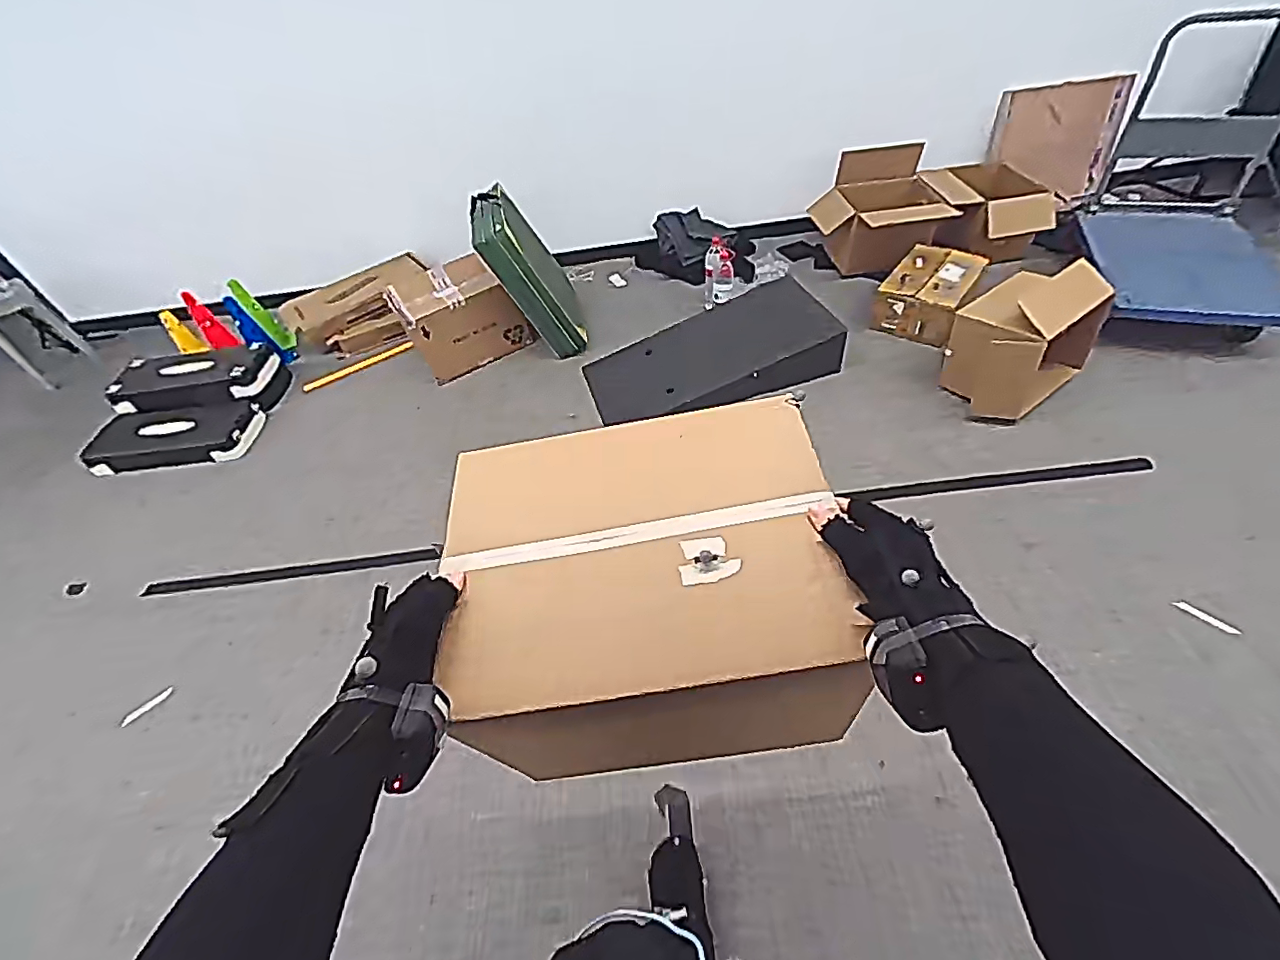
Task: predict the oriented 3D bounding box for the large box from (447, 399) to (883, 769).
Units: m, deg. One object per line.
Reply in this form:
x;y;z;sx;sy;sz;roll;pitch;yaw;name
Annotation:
0.022;0.143;0.685;0.408;0.320;0.320;-10;53;3;large box
